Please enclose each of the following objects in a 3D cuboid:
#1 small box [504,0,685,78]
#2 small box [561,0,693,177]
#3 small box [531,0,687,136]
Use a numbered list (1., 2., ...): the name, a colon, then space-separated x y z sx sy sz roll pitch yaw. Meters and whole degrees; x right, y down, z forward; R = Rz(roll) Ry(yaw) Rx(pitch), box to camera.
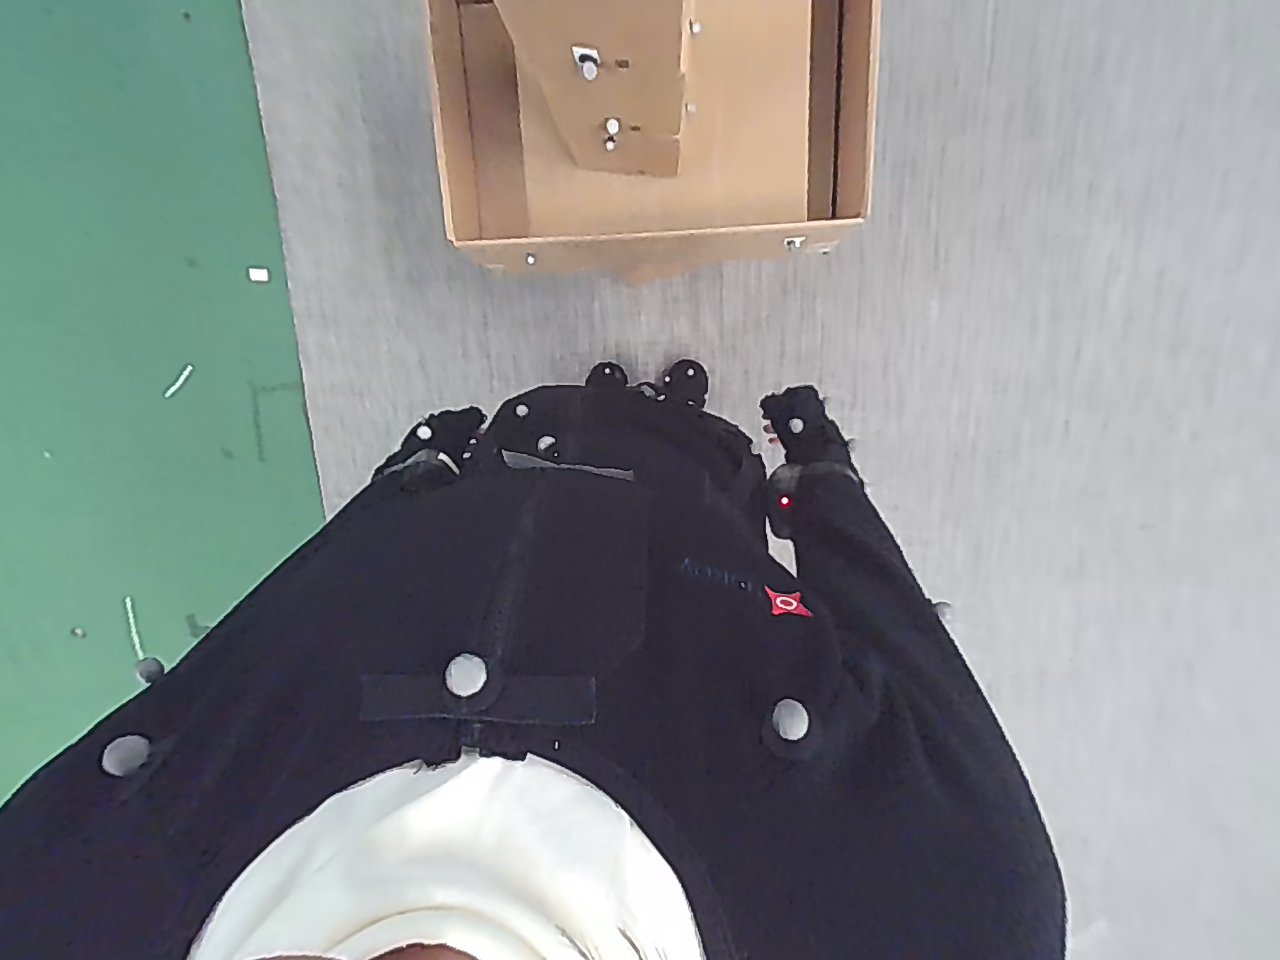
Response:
1. small box: -0.040 -0.500 0.481 0.168 0.176 0.179 3 104 3
2. small box: -0.017 -0.576 0.797 0.168 0.176 0.179 5 102 2
3. small box: -0.030 -0.539 0.637 0.168 0.176 0.179 3 103 2
